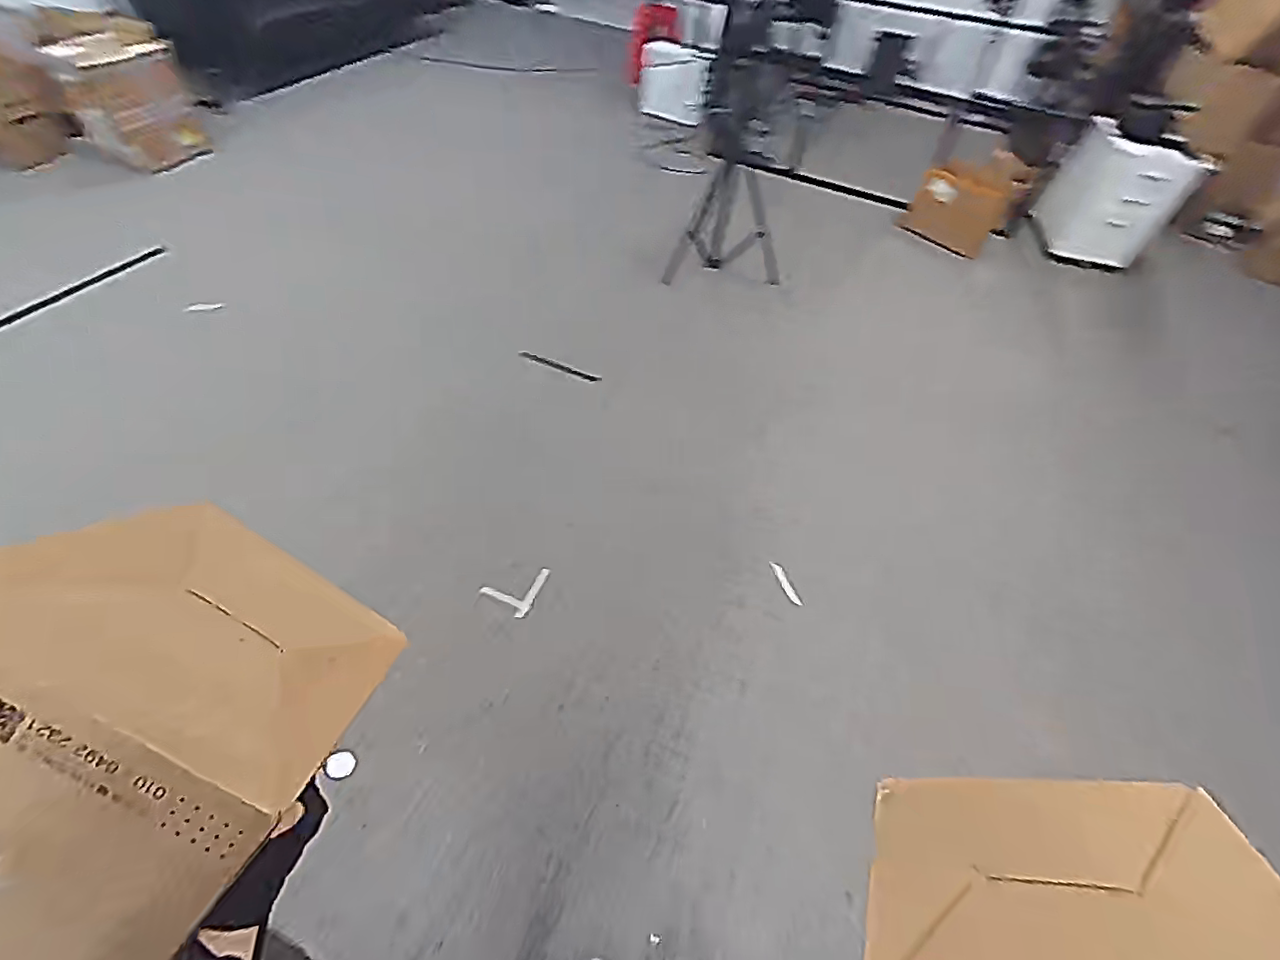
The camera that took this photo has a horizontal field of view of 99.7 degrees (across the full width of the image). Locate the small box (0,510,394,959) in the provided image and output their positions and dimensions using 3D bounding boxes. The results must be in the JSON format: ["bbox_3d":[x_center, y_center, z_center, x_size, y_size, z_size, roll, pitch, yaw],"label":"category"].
[{"bbox_3d":[-0.265,0.134,0.278,0.168,0.179,0.176,37,90,-10],"label":"small box"}]
